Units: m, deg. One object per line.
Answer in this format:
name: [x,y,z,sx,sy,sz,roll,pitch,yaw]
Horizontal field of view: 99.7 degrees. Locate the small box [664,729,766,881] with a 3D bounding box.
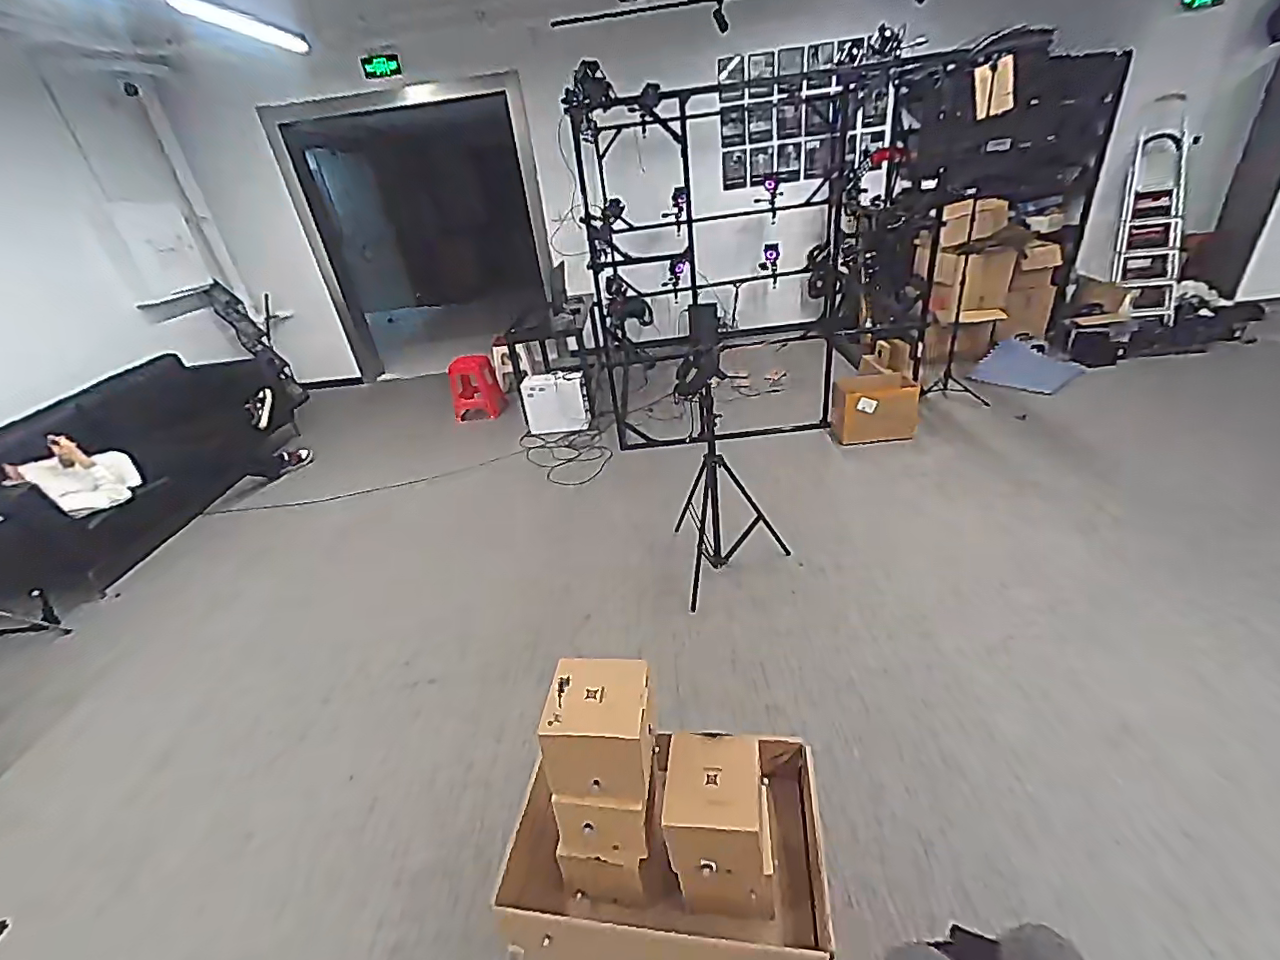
small box: [0.144,0.595,1.000,0.168,0.176,0.179,-3,29,13]

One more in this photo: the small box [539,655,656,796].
small box: [-0.066,0.447,0.986,0.179,0.176,0.168,0,29,8]

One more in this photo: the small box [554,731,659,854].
small box: [-0.055,0.594,1.058,0.168,0.176,0.179,1,29,9]
